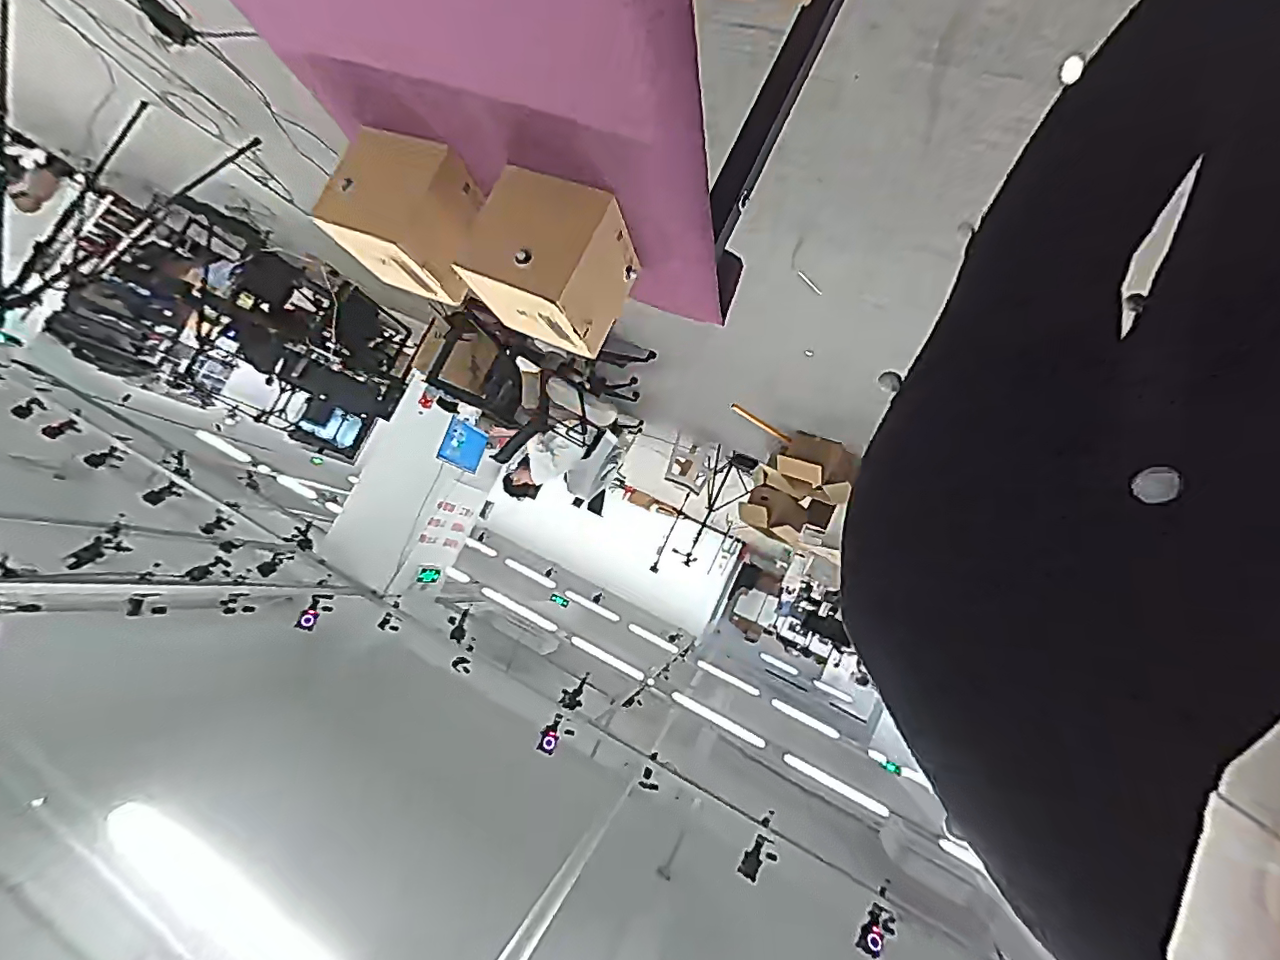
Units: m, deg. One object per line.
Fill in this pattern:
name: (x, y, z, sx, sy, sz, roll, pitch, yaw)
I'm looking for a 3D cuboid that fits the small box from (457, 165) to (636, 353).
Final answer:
small box: (-0.120, -0.318, 0.784, 0.179, 0.176, 0.168, 26, 173, 17)
